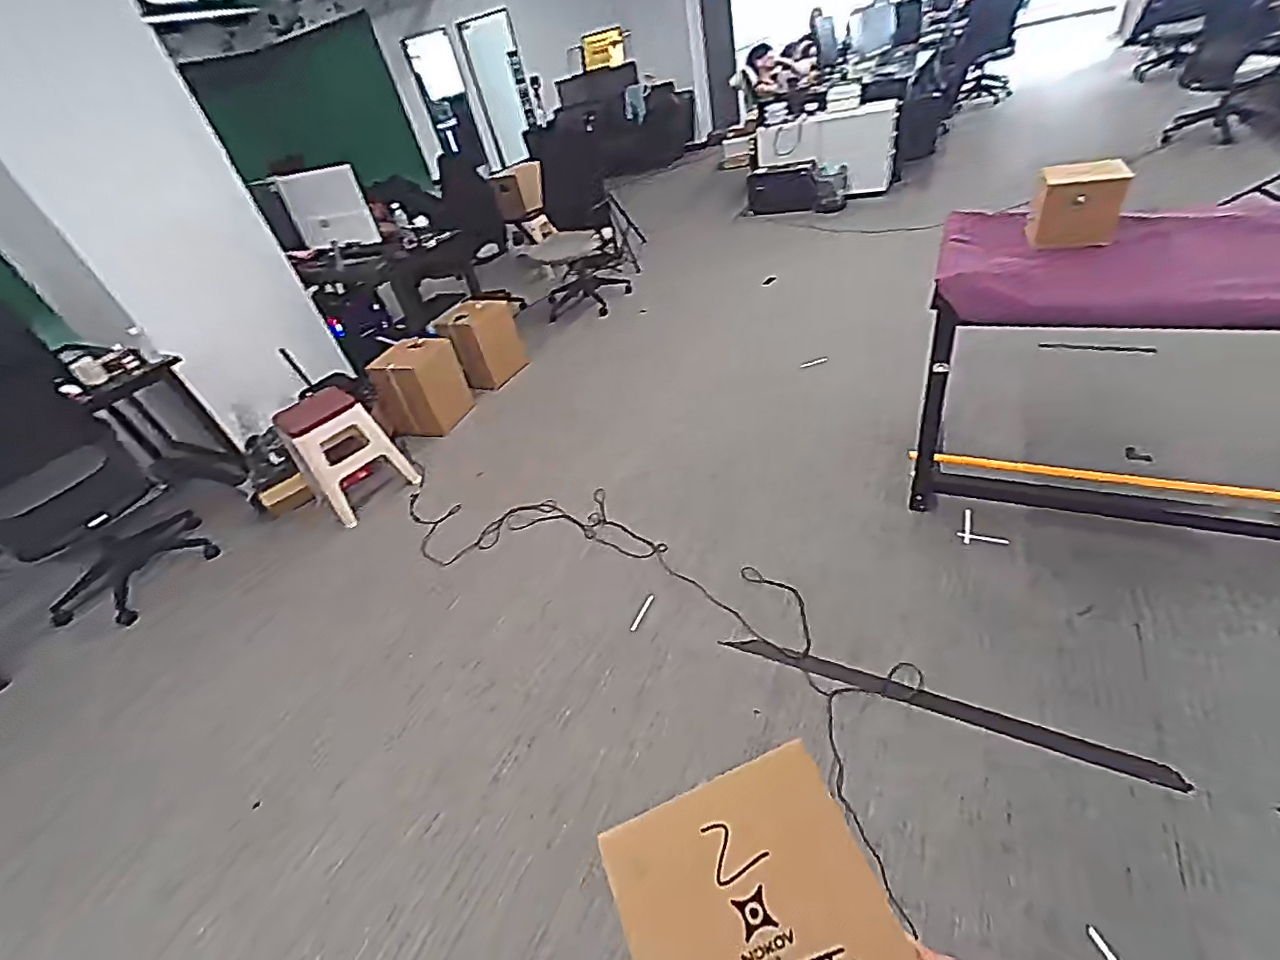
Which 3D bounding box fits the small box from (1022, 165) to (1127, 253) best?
[{"bbox_3d":[1.164,-0.728,1.462,0.179,0.176,0.168,7,43,24],"label":"small box"}]
